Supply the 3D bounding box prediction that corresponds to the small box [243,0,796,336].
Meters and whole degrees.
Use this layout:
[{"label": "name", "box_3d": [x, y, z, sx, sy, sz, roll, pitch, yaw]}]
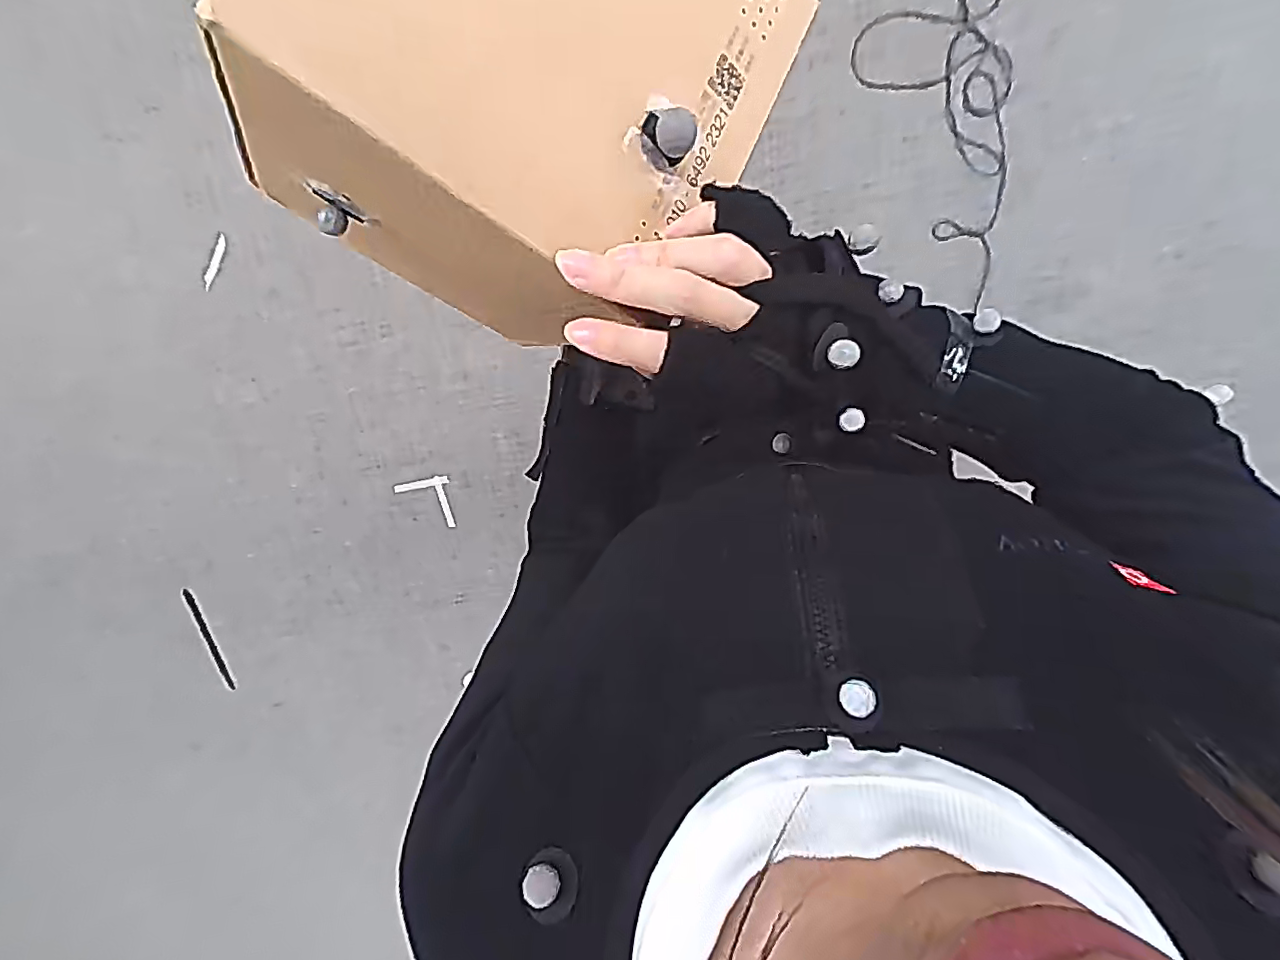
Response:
[{"label": "small box", "box_3d": [-0.060, -0.186, 0.273, 0.176, 0.179, 0.168, 26, 87, -34]}]
